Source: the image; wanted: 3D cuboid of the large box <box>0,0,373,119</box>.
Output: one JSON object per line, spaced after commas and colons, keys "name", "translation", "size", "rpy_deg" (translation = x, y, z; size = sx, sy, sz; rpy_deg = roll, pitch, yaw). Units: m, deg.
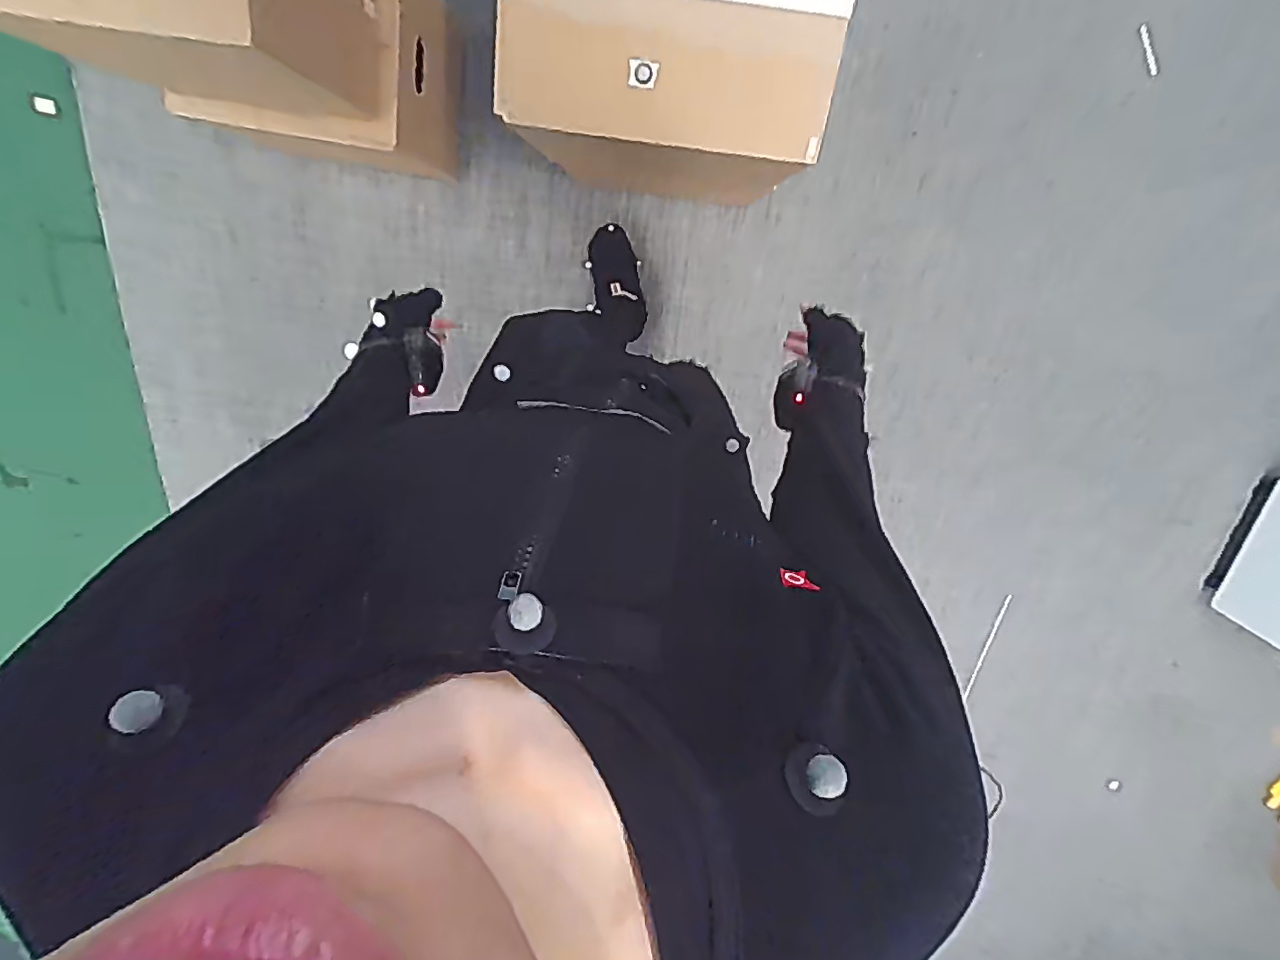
{"name": "large box", "translation": [-0.635, -0.739, 0.735], "size": [0.408, 0.320, 0.320], "rpy_deg": [8, 109, -2]}
